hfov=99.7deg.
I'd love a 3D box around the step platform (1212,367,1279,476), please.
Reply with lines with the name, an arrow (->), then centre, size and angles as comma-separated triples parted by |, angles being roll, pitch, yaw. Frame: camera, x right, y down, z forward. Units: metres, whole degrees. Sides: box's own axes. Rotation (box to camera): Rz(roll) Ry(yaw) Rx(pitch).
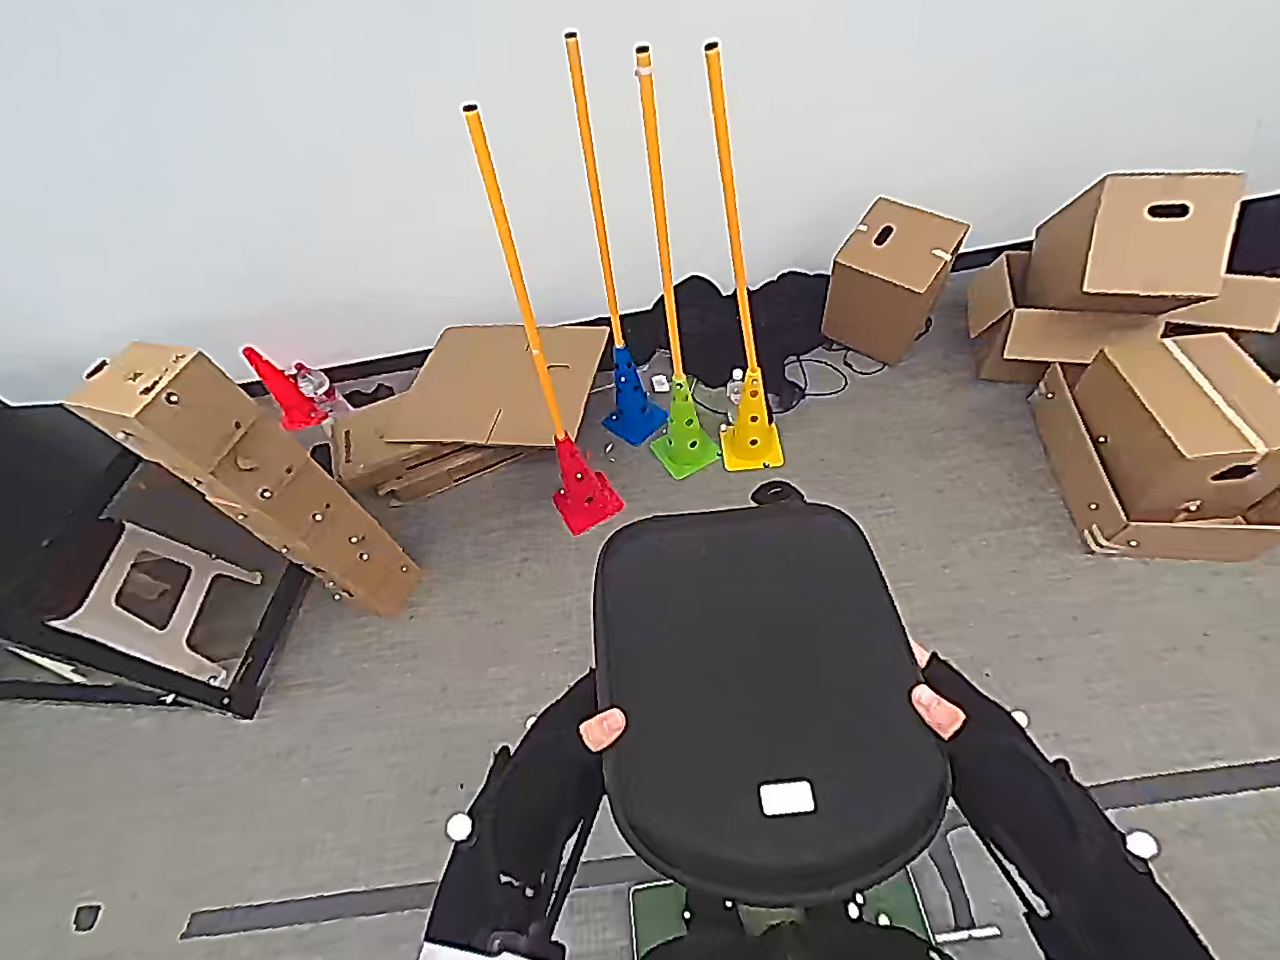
step platform -> 2.100, -0.276, 1.621 | 0.684, 0.204, 0.286 | -33, 56, -14
